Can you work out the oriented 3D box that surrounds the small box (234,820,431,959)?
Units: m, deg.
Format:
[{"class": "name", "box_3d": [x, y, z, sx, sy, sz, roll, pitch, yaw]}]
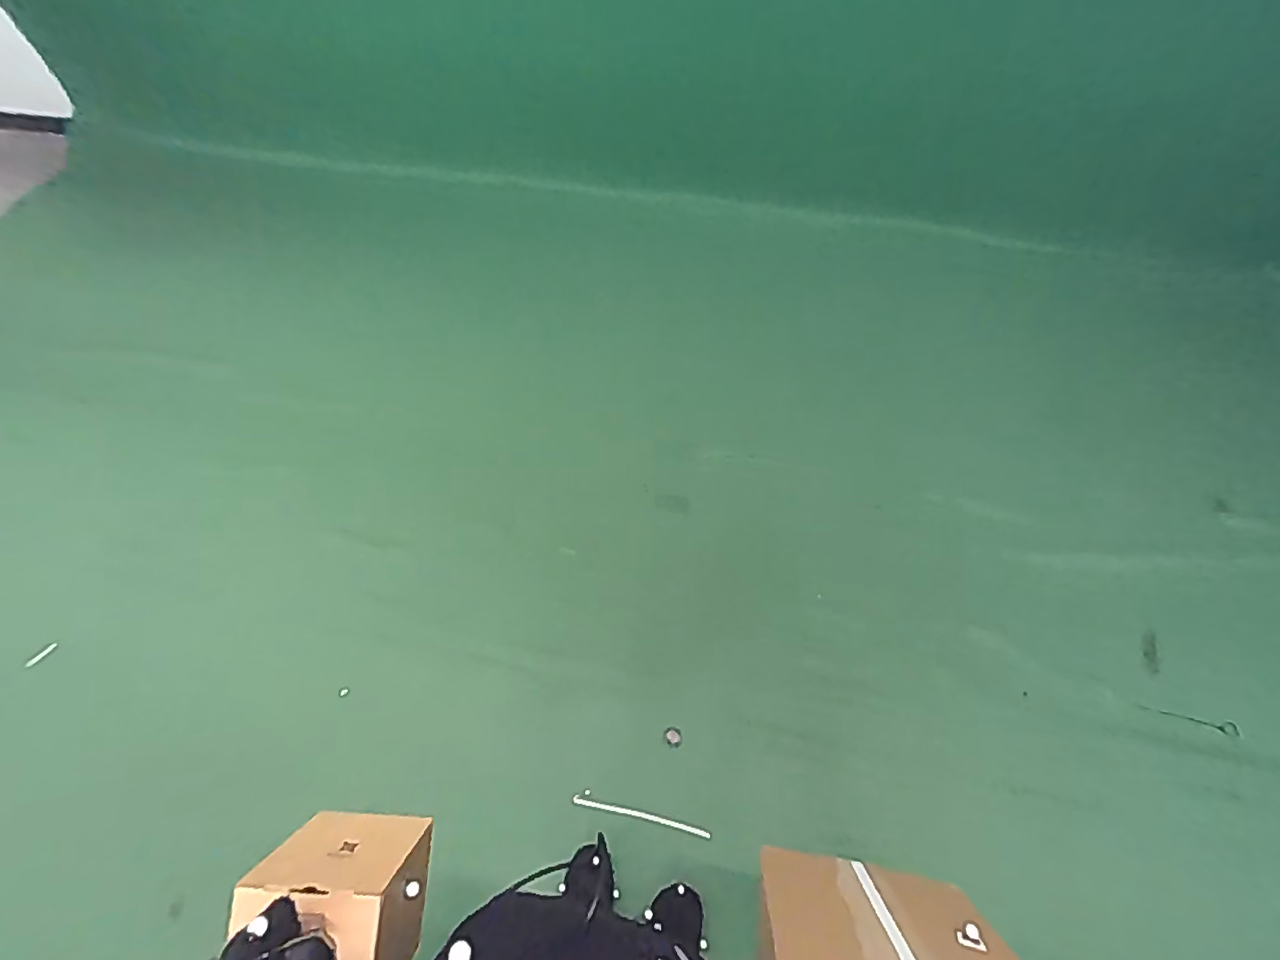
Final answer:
[{"class": "small box", "box_3d": [-0.386, 0.568, 0.686, 0.168, 0.179, 0.176, 5, 82, -2]}]
